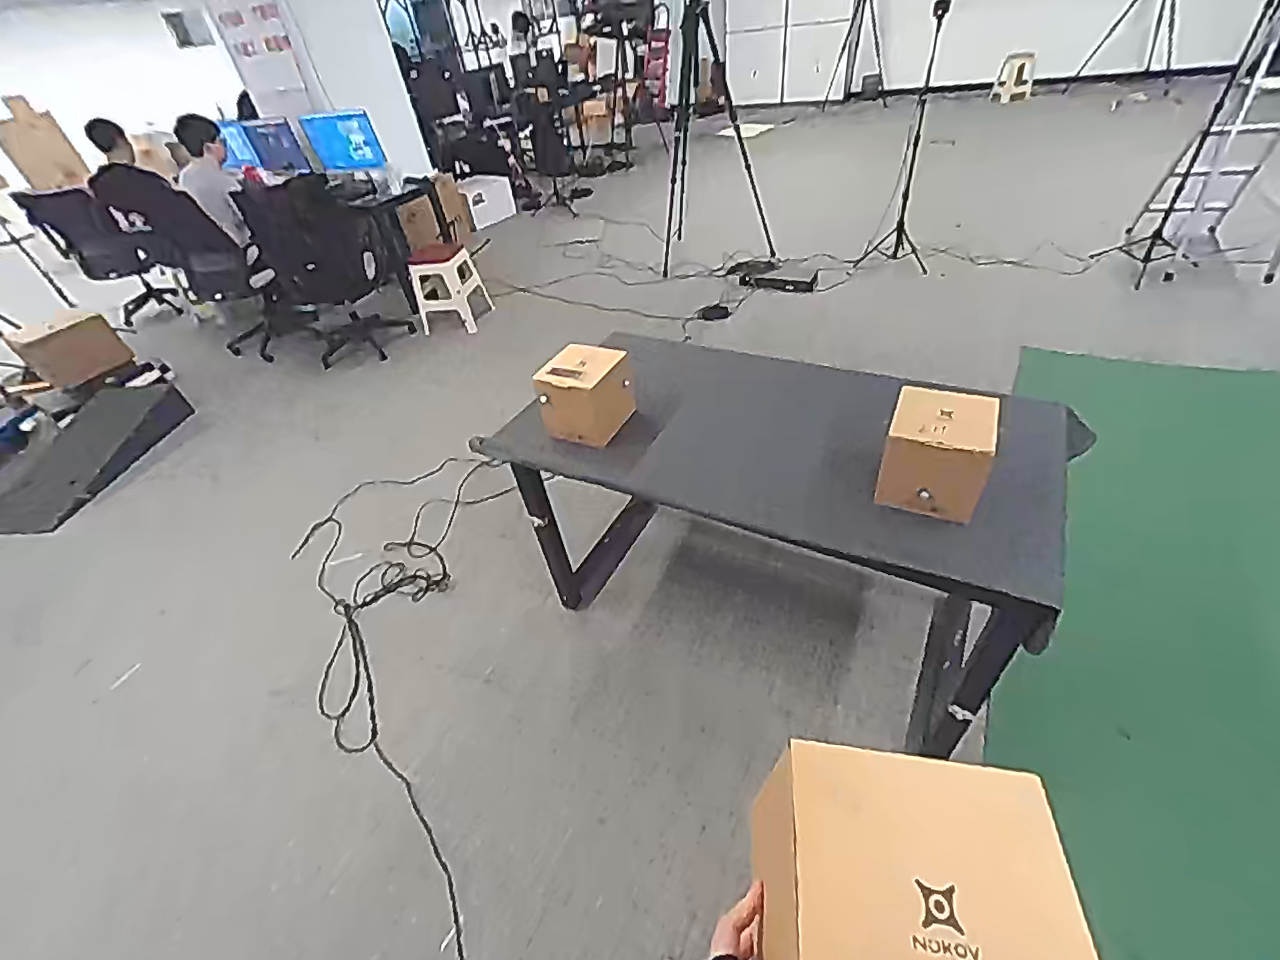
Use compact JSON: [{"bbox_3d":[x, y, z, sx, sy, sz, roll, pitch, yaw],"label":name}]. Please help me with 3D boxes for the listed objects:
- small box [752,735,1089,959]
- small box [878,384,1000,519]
[{"bbox_3d":[0.172,0.307,0.377,0.168,0.176,0.179,6,48,6],"label":"small box"},{"bbox_3d":[0.557,-0.056,1.019,0.168,0.176,0.179,13,46,26],"label":"small box"}]
